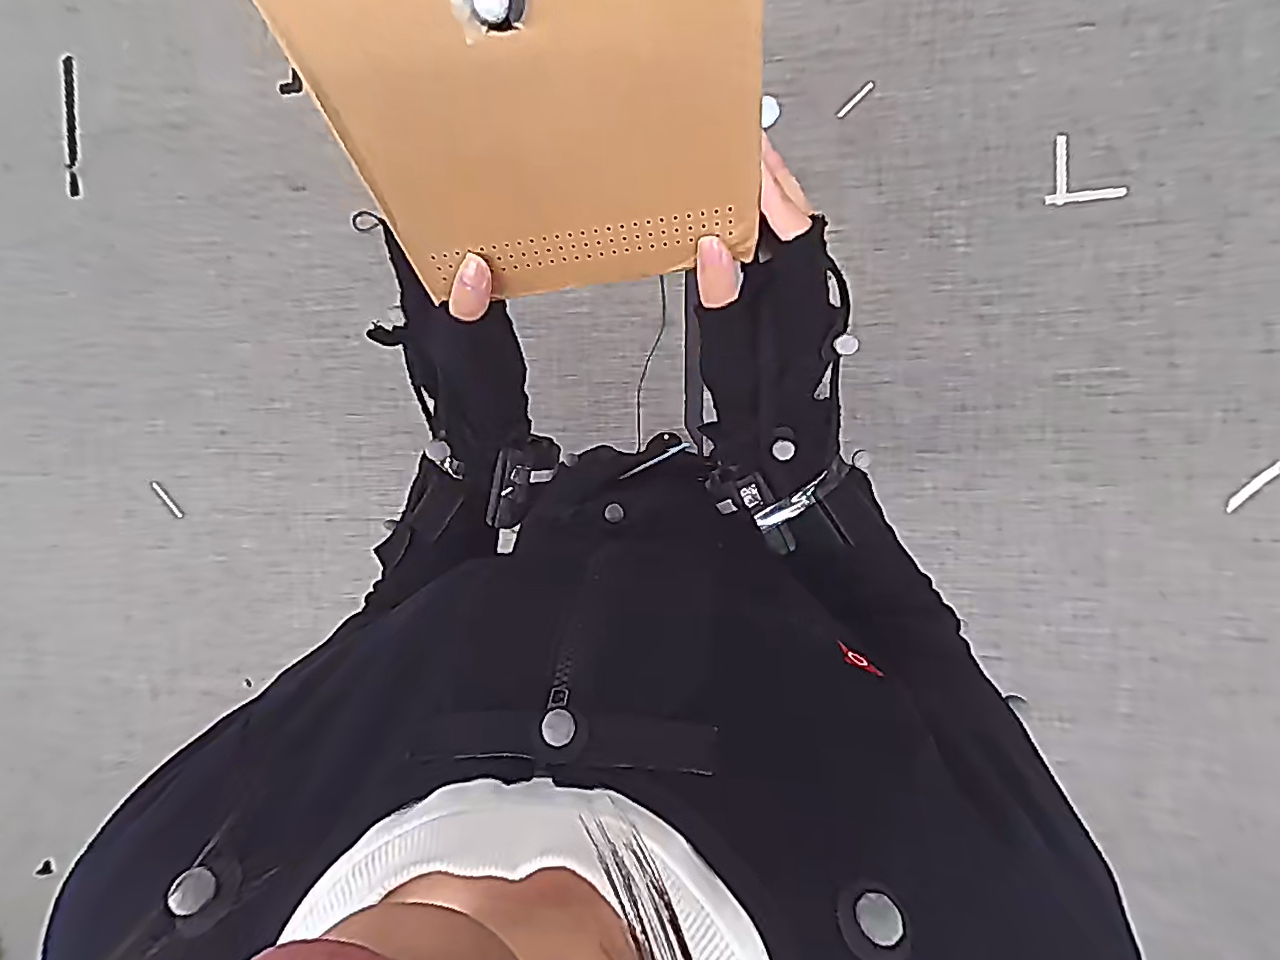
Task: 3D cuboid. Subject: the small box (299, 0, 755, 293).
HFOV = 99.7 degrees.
[{"bbox_3d":[-0.037,-0.217,0.276,0.179,0.176,0.168,-5,58,8],"label":"small box"}]
